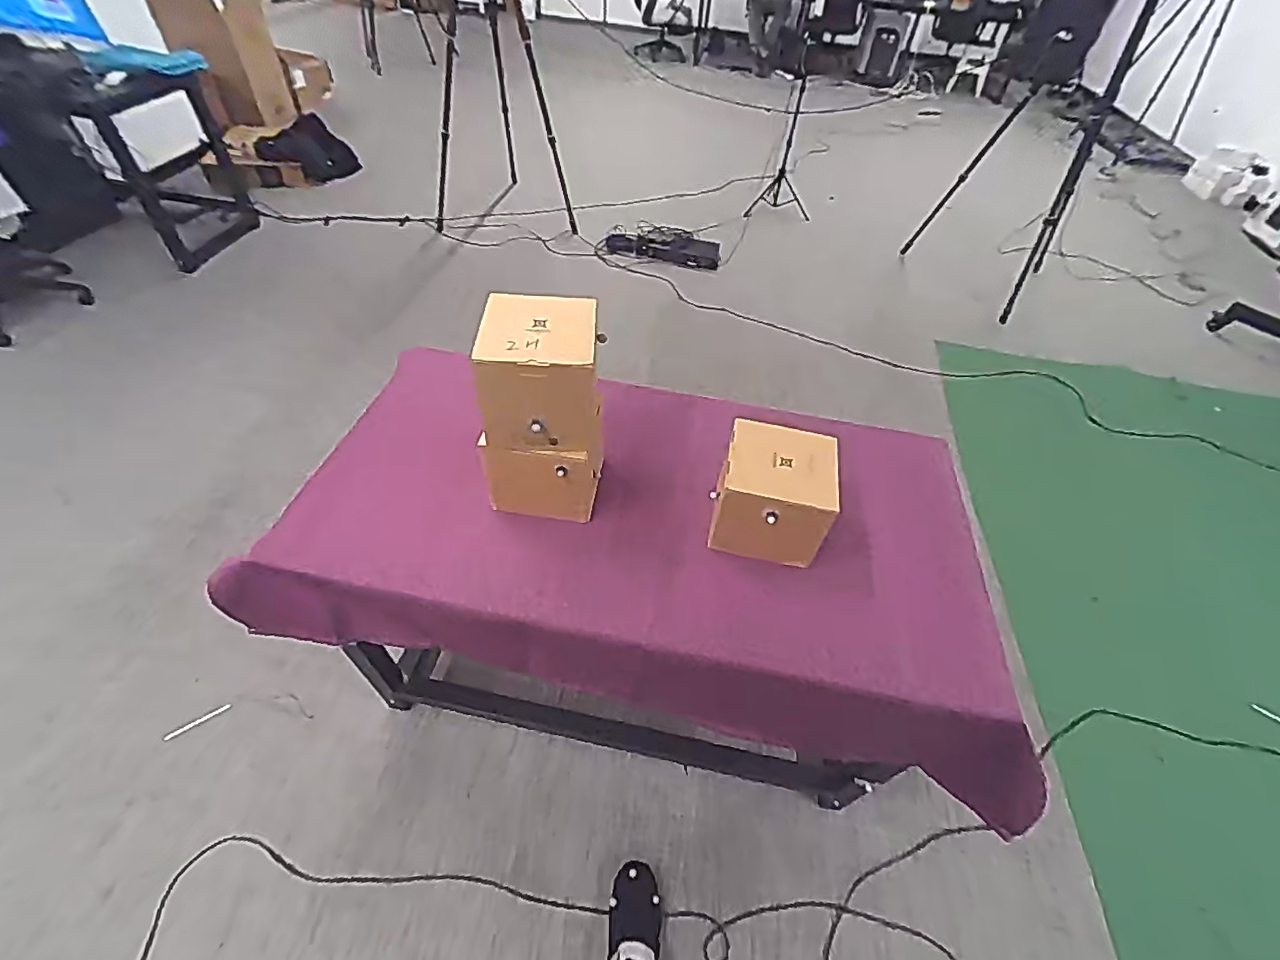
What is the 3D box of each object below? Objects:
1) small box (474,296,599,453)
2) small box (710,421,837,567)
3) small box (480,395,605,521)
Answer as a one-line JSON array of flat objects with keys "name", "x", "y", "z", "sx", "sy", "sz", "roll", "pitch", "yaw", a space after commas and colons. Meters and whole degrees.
[{"name": "small box", "x": -0.151, "y": -0.163, "z": 0.844, "sx": 0.168, "sy": 0.176, "sz": 0.179, "roll": 2, "pitch": 49, "yaw": -4}, {"name": "small box", "x": 0.224, "y": 0.028, "z": 0.927, "sx": 0.179, "sy": 0.176, "sz": 0.168, "roll": 13, "pitch": 49, "yaw": 5}, {"name": "small box", "x": -0.163, "y": -0.046, "z": 0.960, "sx": 0.179, "sy": 0.176, "sz": 0.168, "roll": 8, "pitch": 48, "yaw": 1}]
